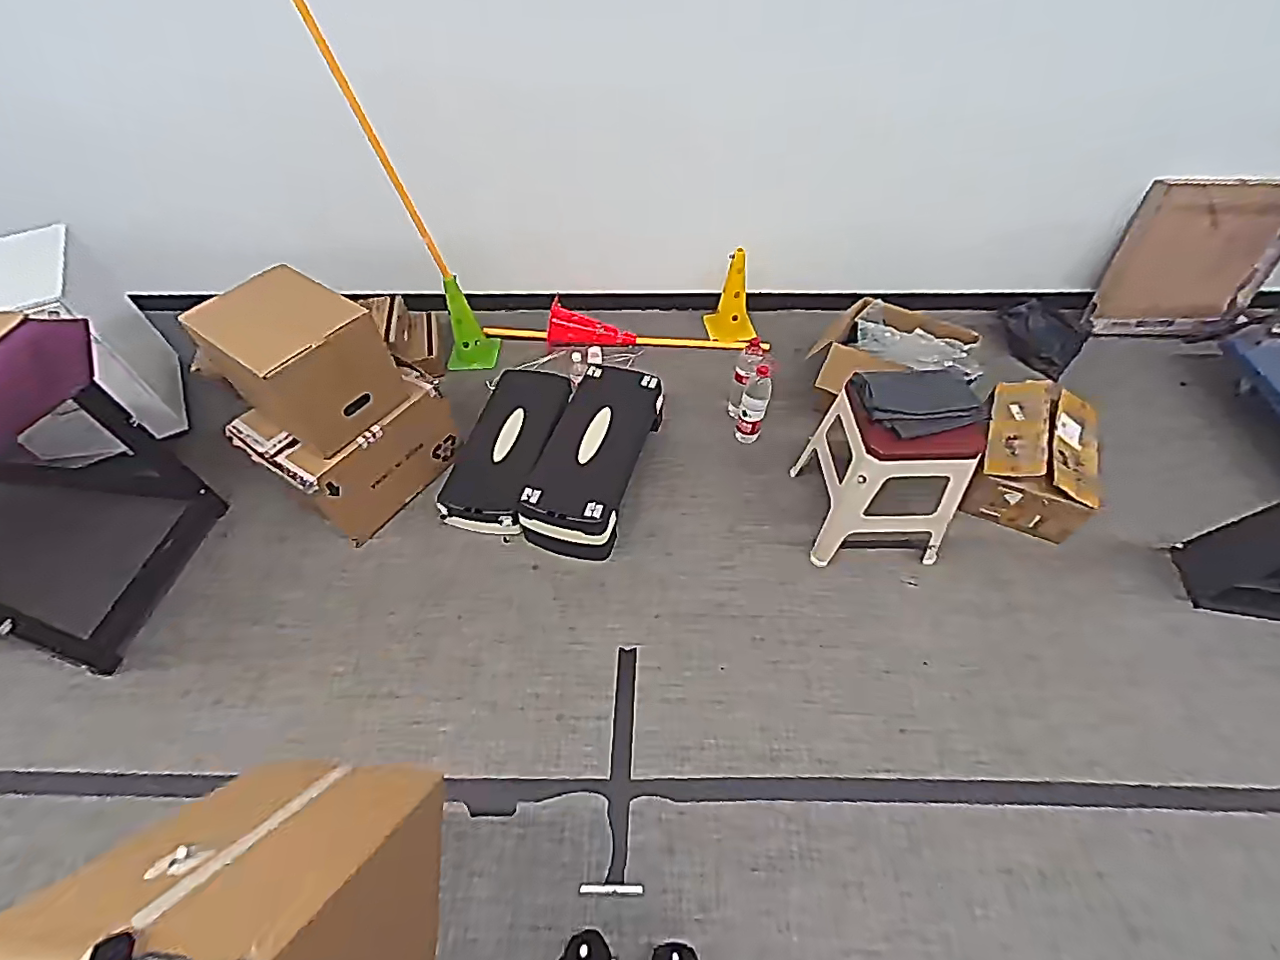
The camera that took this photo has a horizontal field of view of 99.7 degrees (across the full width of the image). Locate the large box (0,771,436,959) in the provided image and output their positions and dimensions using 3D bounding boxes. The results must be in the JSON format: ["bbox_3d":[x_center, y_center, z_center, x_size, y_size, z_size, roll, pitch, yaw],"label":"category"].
[{"bbox_3d":[-0.496,0.624,0.681,0.320,0.408,0.320,1,85,4],"label":"large box"}]
